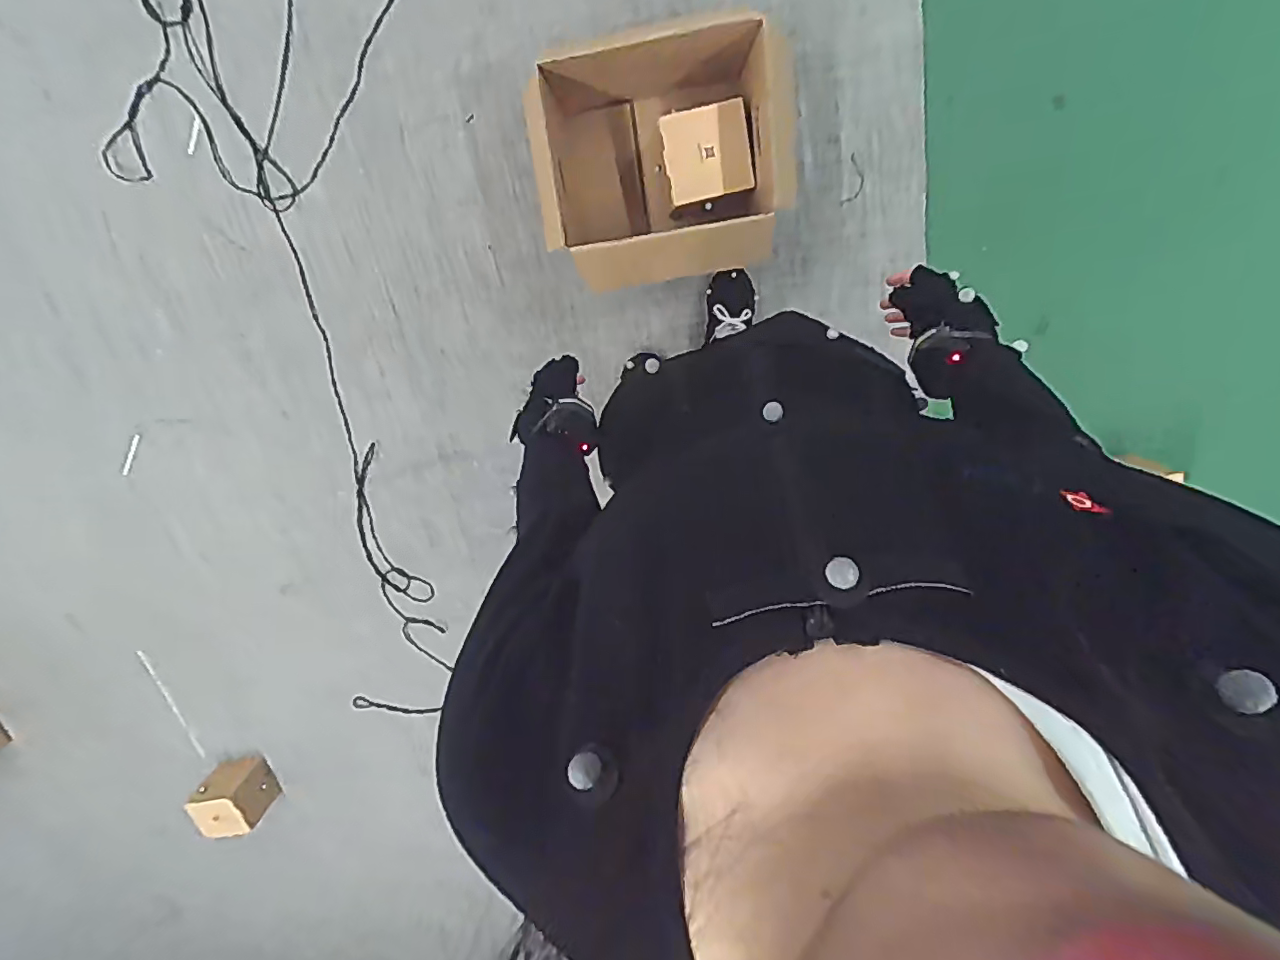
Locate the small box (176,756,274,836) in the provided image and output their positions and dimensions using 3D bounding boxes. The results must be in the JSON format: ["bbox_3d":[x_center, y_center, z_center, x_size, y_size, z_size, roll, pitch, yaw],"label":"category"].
[{"bbox_3d":[-1.425,1.089,1.868,0.179,0.176,0.168,-10,110,5],"label":"small box"}]

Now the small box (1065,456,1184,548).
[{"bbox_3d":[1.263,0.054,1.425,0.168,0.176,0.179,-11,108,5],"label":"small box"}]
